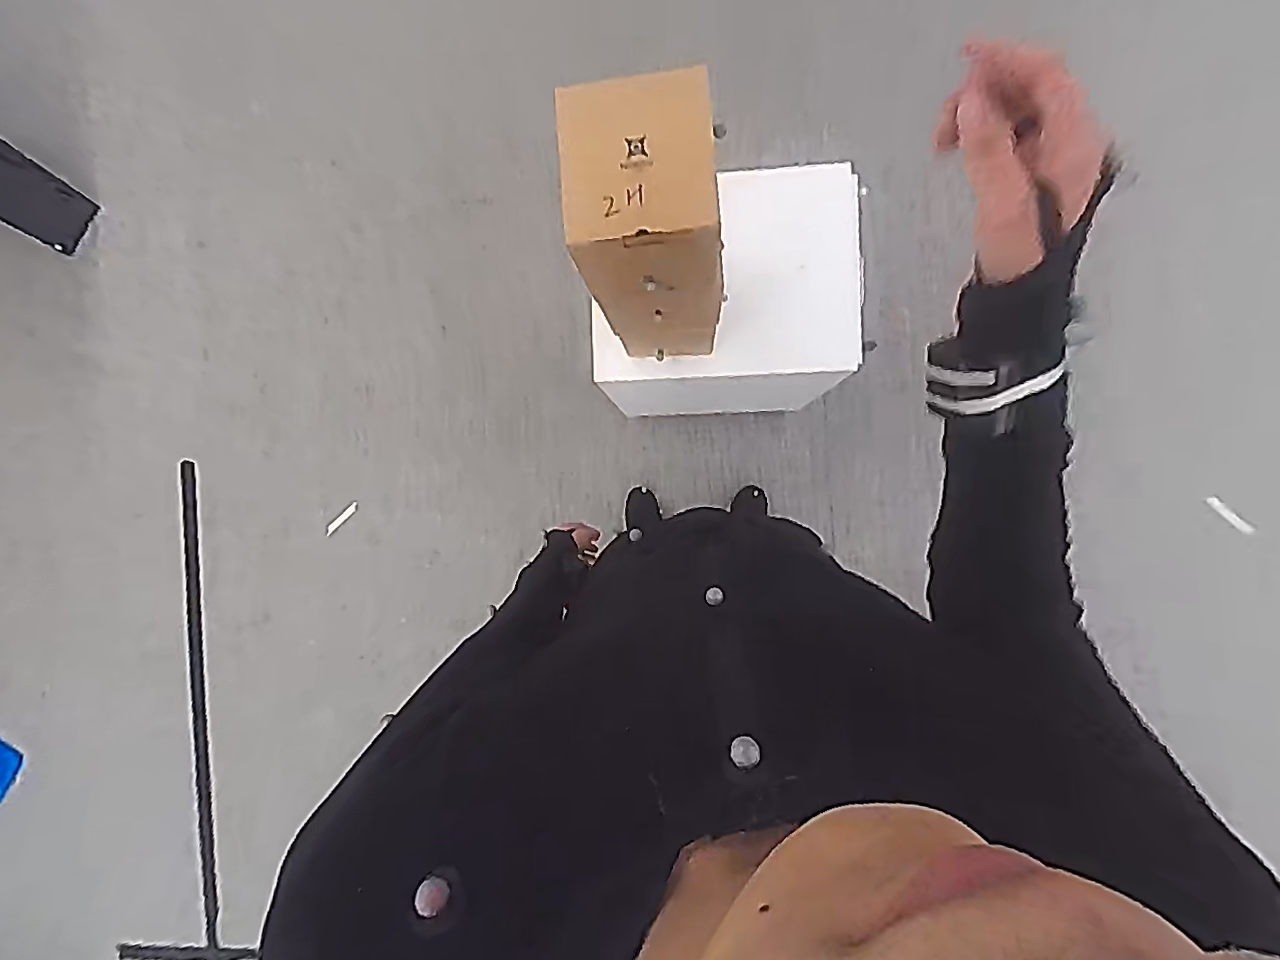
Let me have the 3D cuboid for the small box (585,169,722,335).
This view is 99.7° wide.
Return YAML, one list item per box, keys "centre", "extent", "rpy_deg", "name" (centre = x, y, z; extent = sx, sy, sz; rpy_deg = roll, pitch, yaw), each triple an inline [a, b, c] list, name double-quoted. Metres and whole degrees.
- centre: [0.025, -0.326, 0.807]
  extent: [0.179, 0.176, 0.168]
  rpy_deg: [-5, 88, 6]
  name: "small box"

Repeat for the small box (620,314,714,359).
- centre: [0.045, -0.325, 0.970]
  extent: [0.168, 0.176, 0.179]
  rpy_deg: [-1, 89, 5]
  name: "small box"
